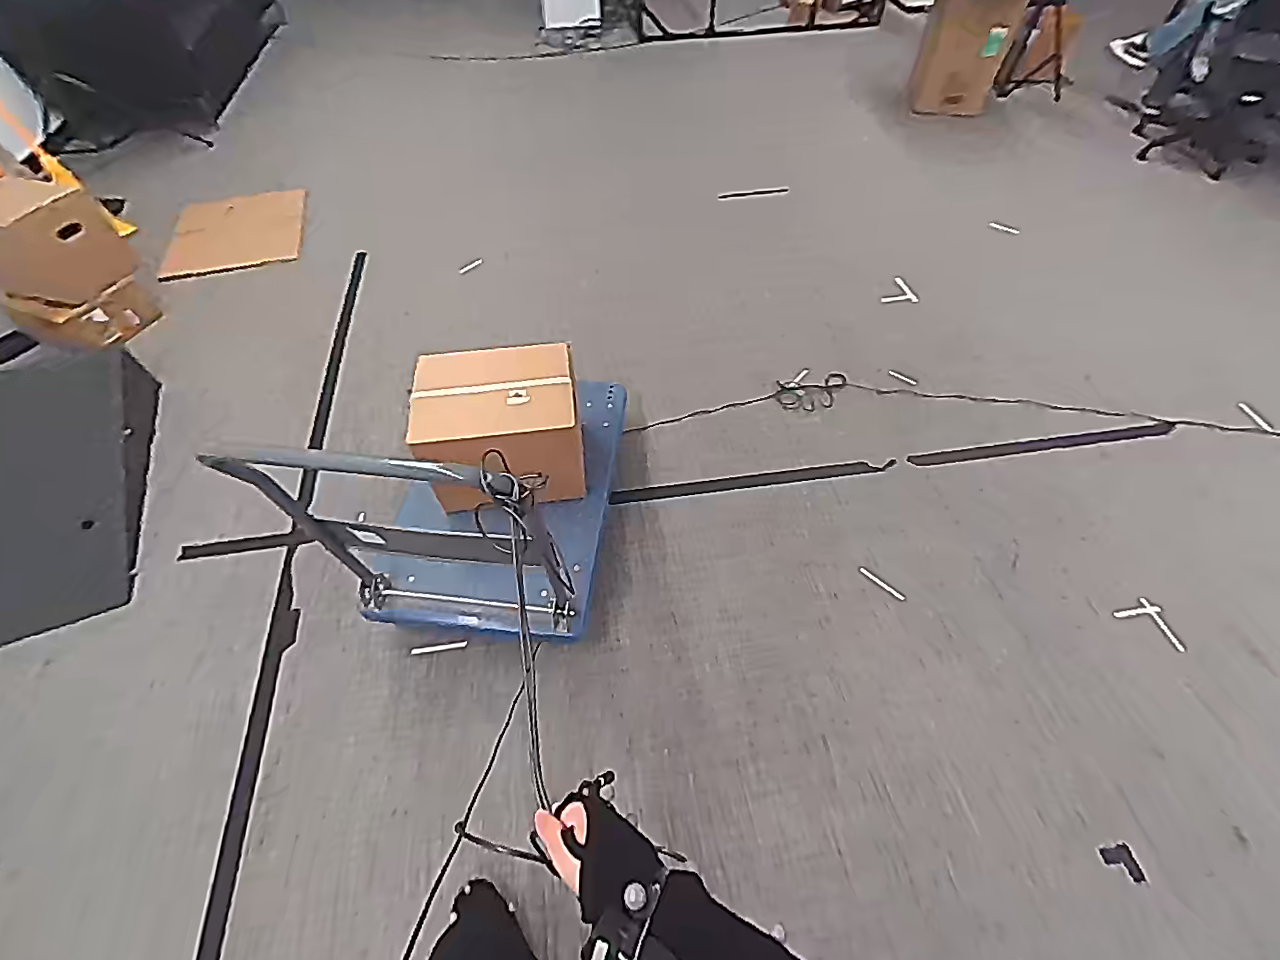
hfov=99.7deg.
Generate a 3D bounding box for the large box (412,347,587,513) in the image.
[{"bbox_3d":[-0.367,-0.133,1.497,0.408,0.320,0.320,-6,55,-4],"label":"large box"}]
